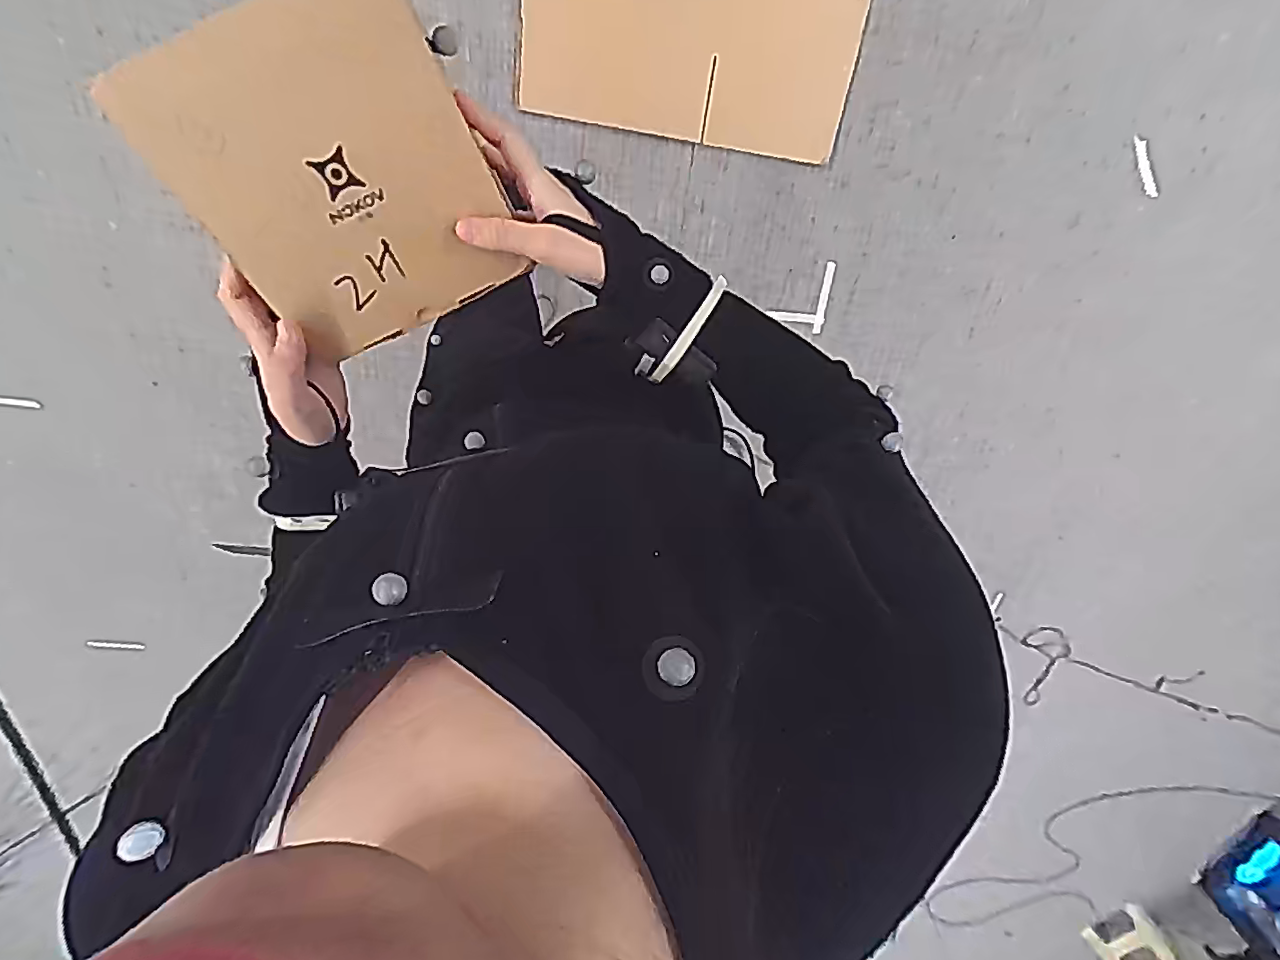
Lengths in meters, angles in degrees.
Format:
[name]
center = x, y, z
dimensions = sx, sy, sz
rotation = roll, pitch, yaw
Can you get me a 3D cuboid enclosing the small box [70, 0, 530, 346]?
[small box]
center = -0.195, -0.227, 0.374
dimensions = 0.168, 0.176, 0.179
rotation = -24, 128, 0
